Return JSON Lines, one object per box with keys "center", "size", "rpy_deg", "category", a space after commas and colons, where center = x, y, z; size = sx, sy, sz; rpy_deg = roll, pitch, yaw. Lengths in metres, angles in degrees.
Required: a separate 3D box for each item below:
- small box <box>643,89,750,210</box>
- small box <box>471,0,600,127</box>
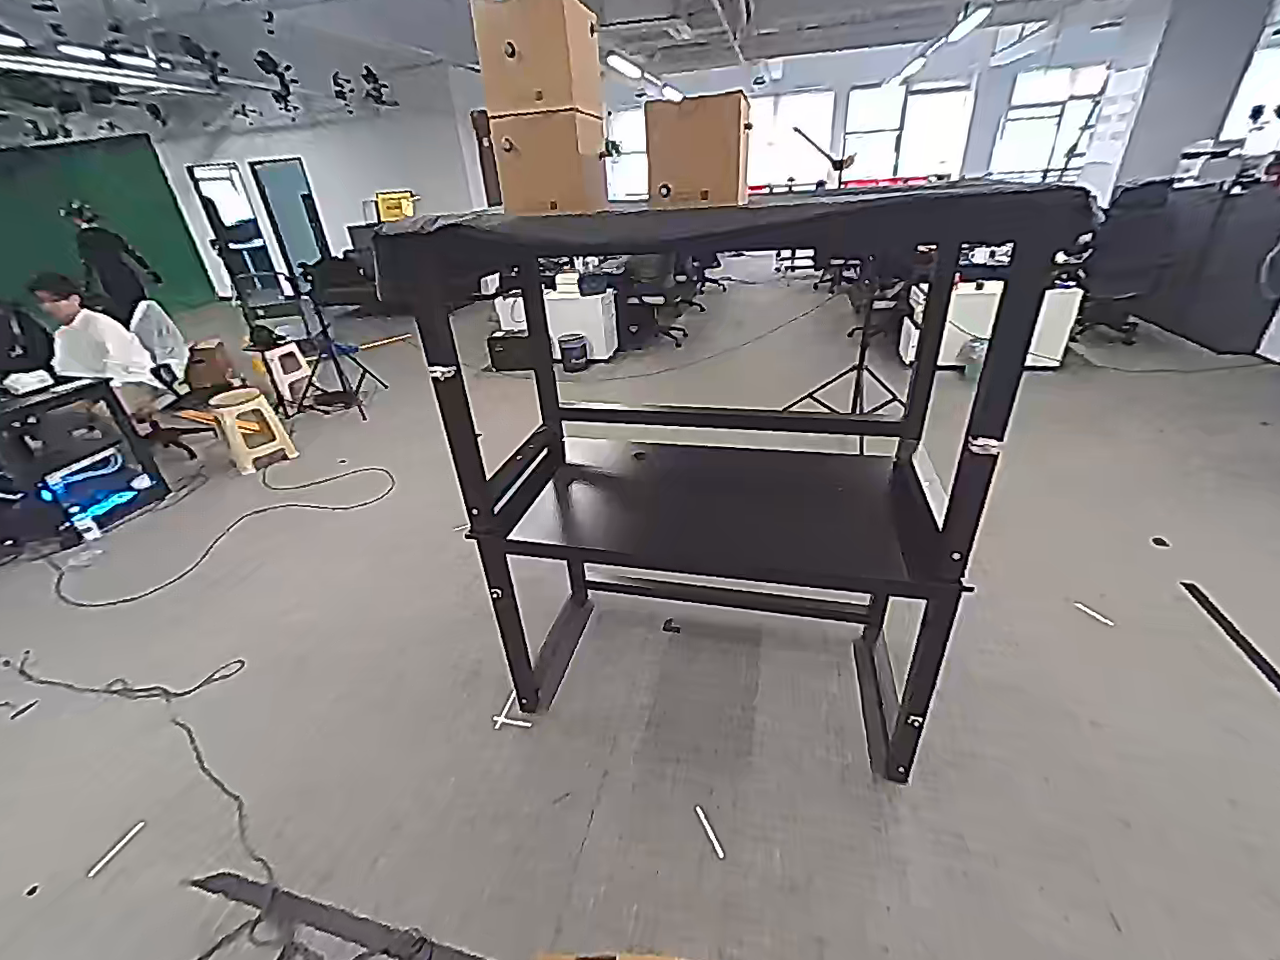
{"center": [0.110, -0.596, 0.994], "size": [0.168, 0.176, 0.179], "rpy_deg": [5, 28, 14], "category": "small box"}
{"center": [-0.177, -0.756, 0.983], "size": [0.168, 0.176, 0.179], "rpy_deg": [4, 28, 14], "category": "small box"}
